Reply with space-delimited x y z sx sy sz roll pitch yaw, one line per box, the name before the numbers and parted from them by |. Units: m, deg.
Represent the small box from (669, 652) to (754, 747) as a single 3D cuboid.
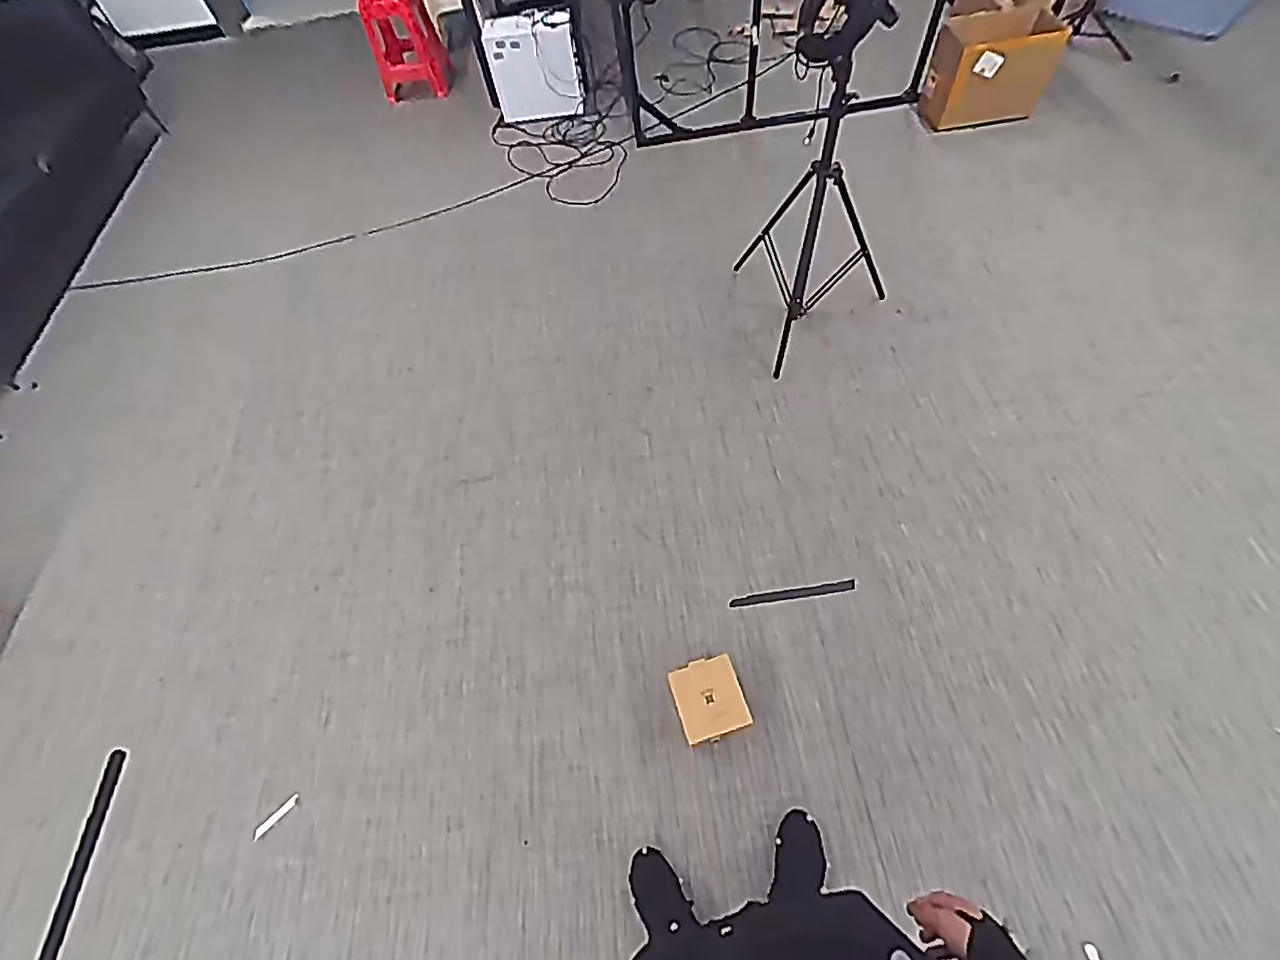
small box | 0.180 0.568 1.392 0.168 0.176 0.179 -18 60 -3
